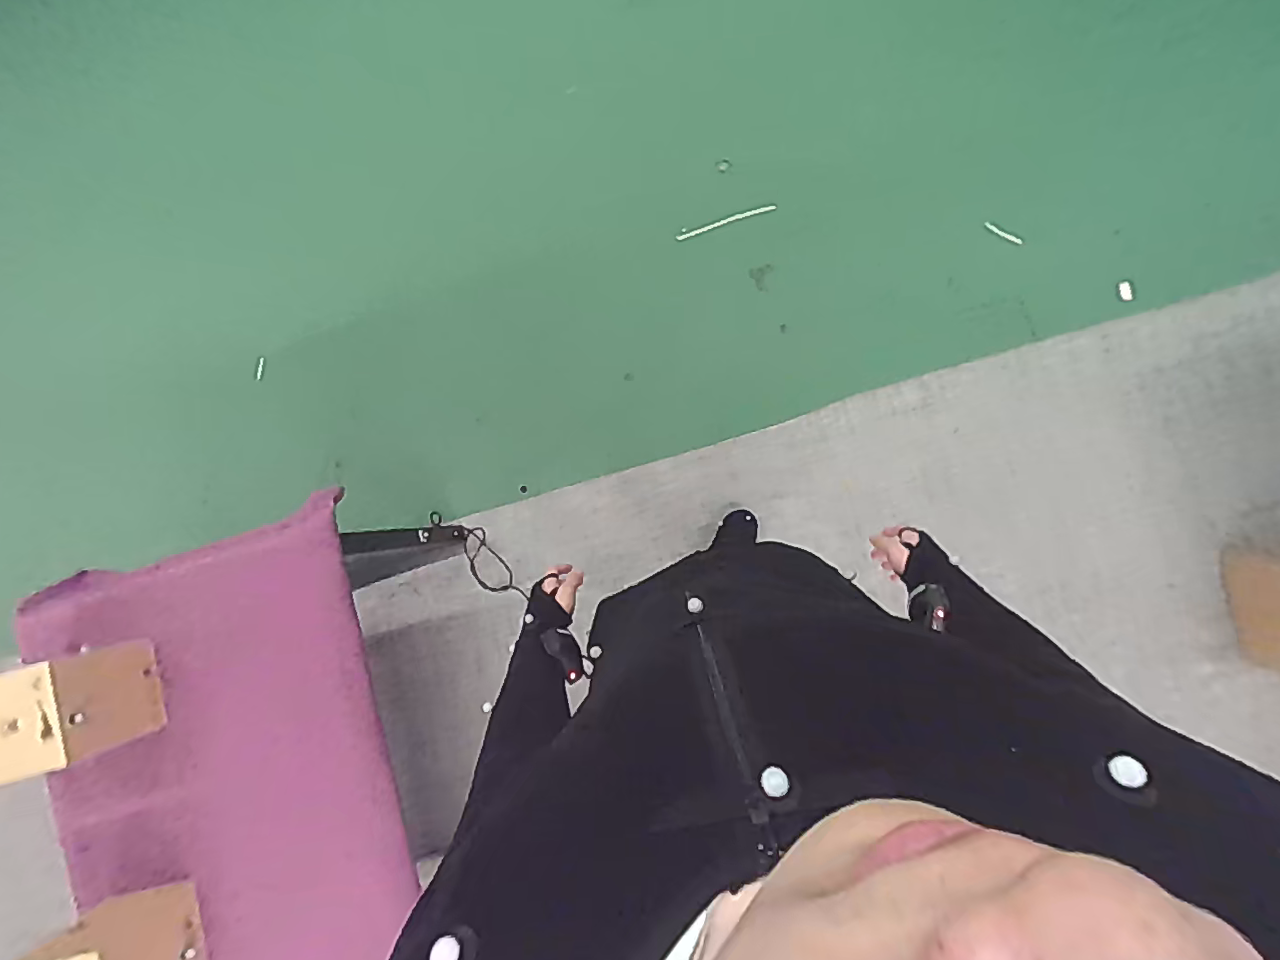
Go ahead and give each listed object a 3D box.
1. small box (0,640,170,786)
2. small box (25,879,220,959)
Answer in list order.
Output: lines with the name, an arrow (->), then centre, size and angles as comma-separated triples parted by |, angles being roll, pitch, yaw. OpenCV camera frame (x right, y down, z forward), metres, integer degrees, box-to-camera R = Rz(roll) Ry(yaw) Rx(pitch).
small box -> -0.971, 0.391, 0.923 | 0.179, 0.176, 0.168 | -16, 87, 4
small box -> -0.857, 0.812, 0.898 | 0.179, 0.176, 0.168 | -15, 87, 3
